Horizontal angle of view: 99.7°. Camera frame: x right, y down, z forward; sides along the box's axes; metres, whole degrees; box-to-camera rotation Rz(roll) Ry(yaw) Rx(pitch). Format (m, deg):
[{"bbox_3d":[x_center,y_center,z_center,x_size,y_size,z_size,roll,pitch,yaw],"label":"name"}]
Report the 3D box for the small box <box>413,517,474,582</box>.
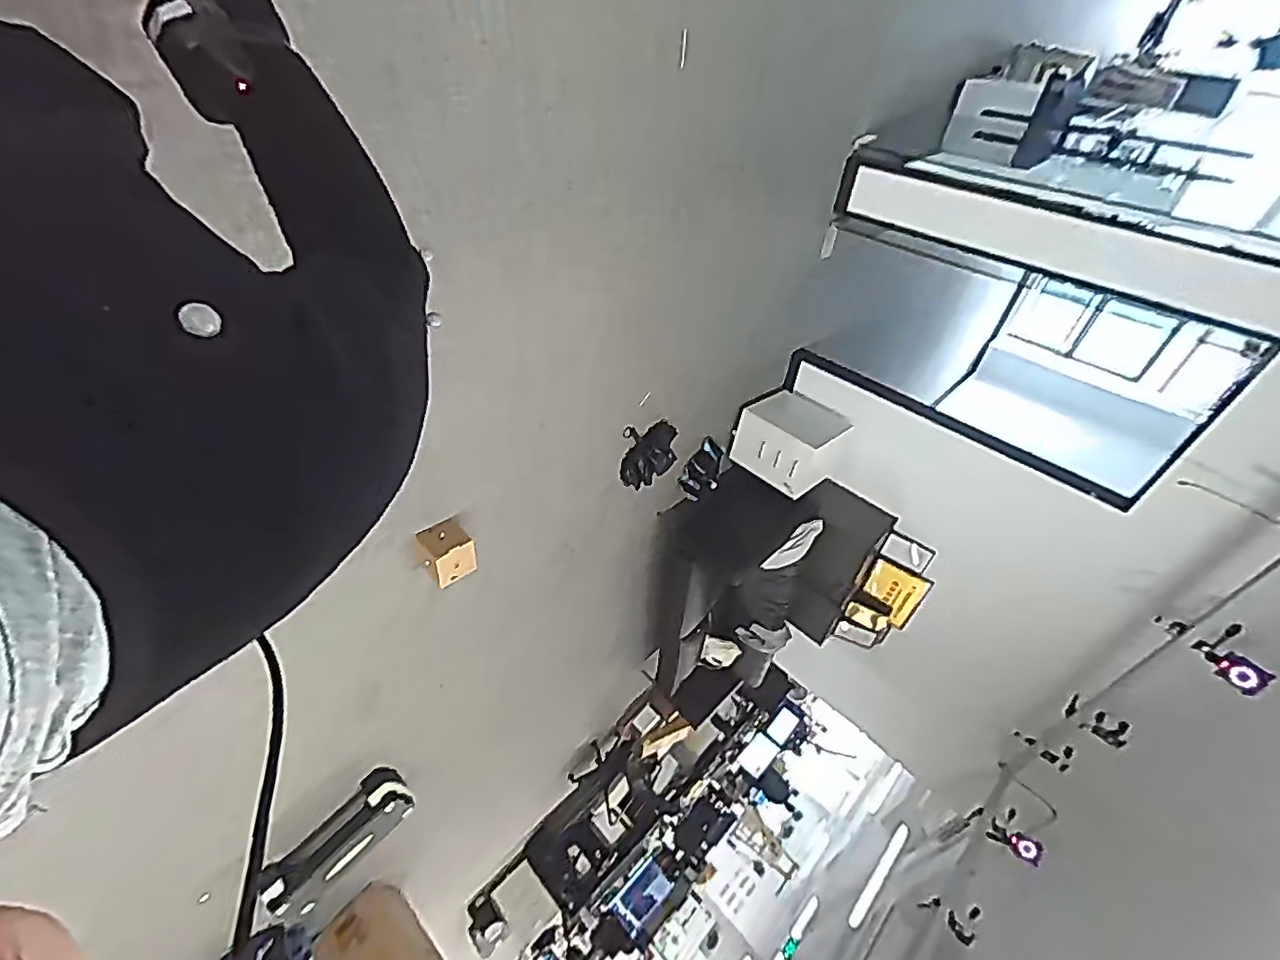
[{"bbox_3d":[-0.796,0.272,2.188,0.168,0.176,0.179,-30,143,-37],"label":"small box"}]
